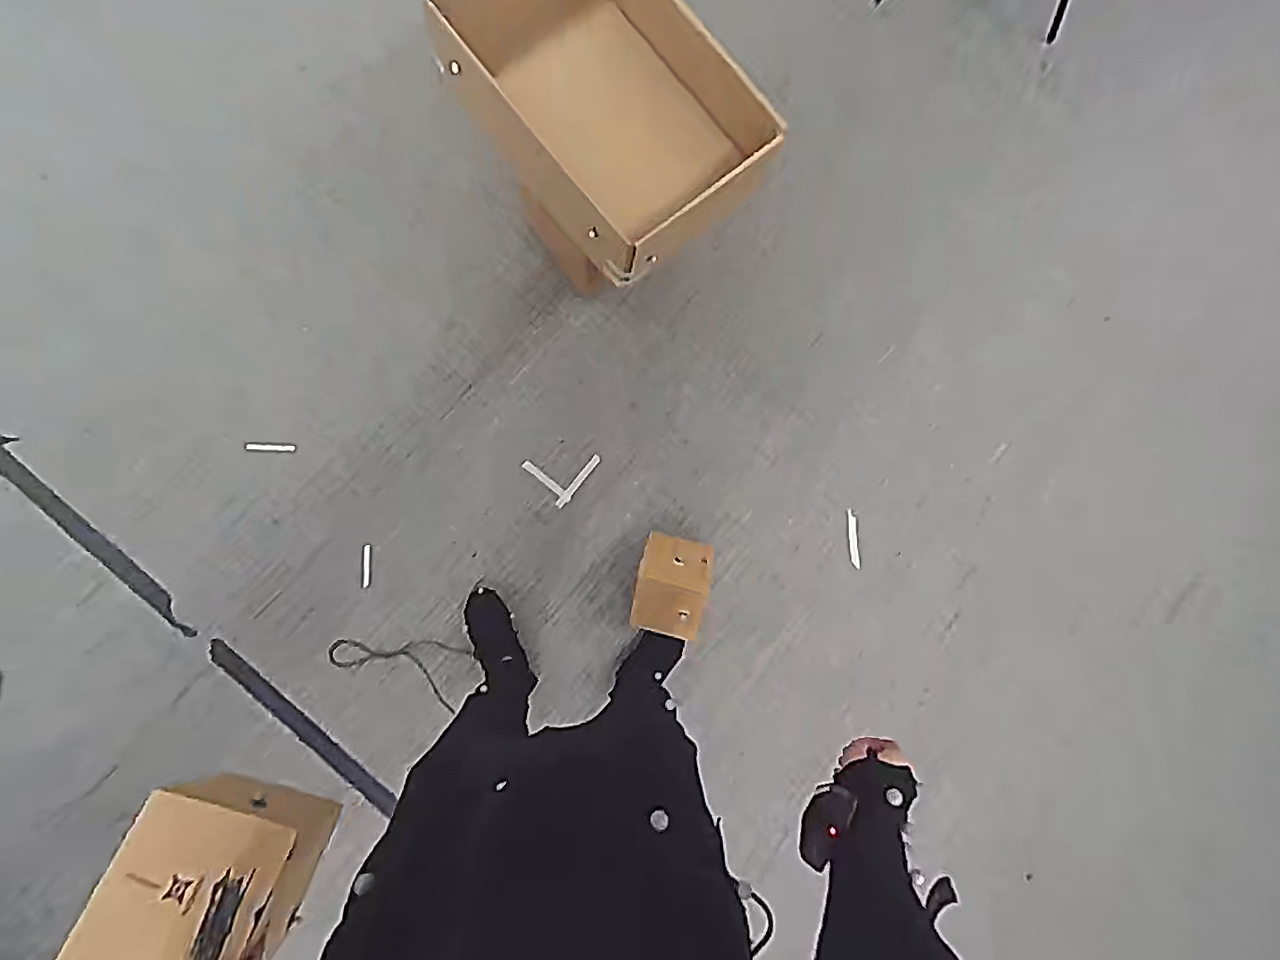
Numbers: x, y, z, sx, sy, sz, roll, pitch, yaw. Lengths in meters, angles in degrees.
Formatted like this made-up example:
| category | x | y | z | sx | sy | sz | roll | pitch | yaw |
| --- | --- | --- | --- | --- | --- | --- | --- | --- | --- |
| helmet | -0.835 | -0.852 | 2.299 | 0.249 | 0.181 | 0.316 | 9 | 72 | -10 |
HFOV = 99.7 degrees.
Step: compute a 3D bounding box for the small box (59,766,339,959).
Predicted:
| category | x | y | z | sx | sy | sz | roll | pitch | yaw |
| --- | --- | --- | --- | --- | --- | --- | --- | --- | --- |
| small box | -0.508 | 0.465 | 0.663 | 0.179 | 0.176 | 0.168 | 19 | 65 | -4 |
